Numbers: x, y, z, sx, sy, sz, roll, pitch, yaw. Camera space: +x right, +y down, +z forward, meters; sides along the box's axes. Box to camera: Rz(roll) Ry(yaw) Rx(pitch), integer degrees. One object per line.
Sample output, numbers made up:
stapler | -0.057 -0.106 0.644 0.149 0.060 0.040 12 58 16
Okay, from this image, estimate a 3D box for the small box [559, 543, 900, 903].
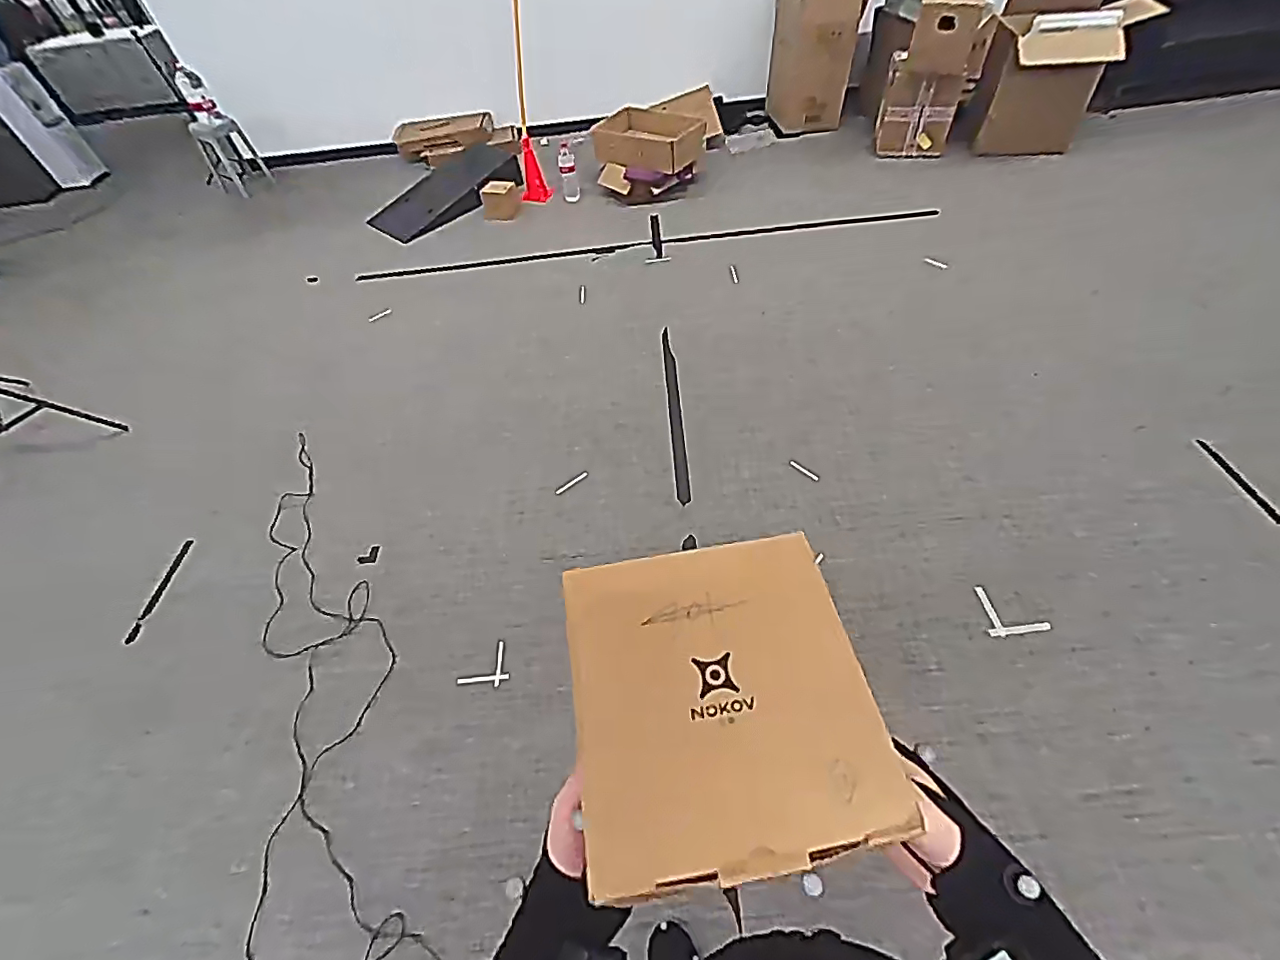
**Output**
small box | 0.043 0.172 0.379 0.168 0.176 0.179 -9 51 -5
